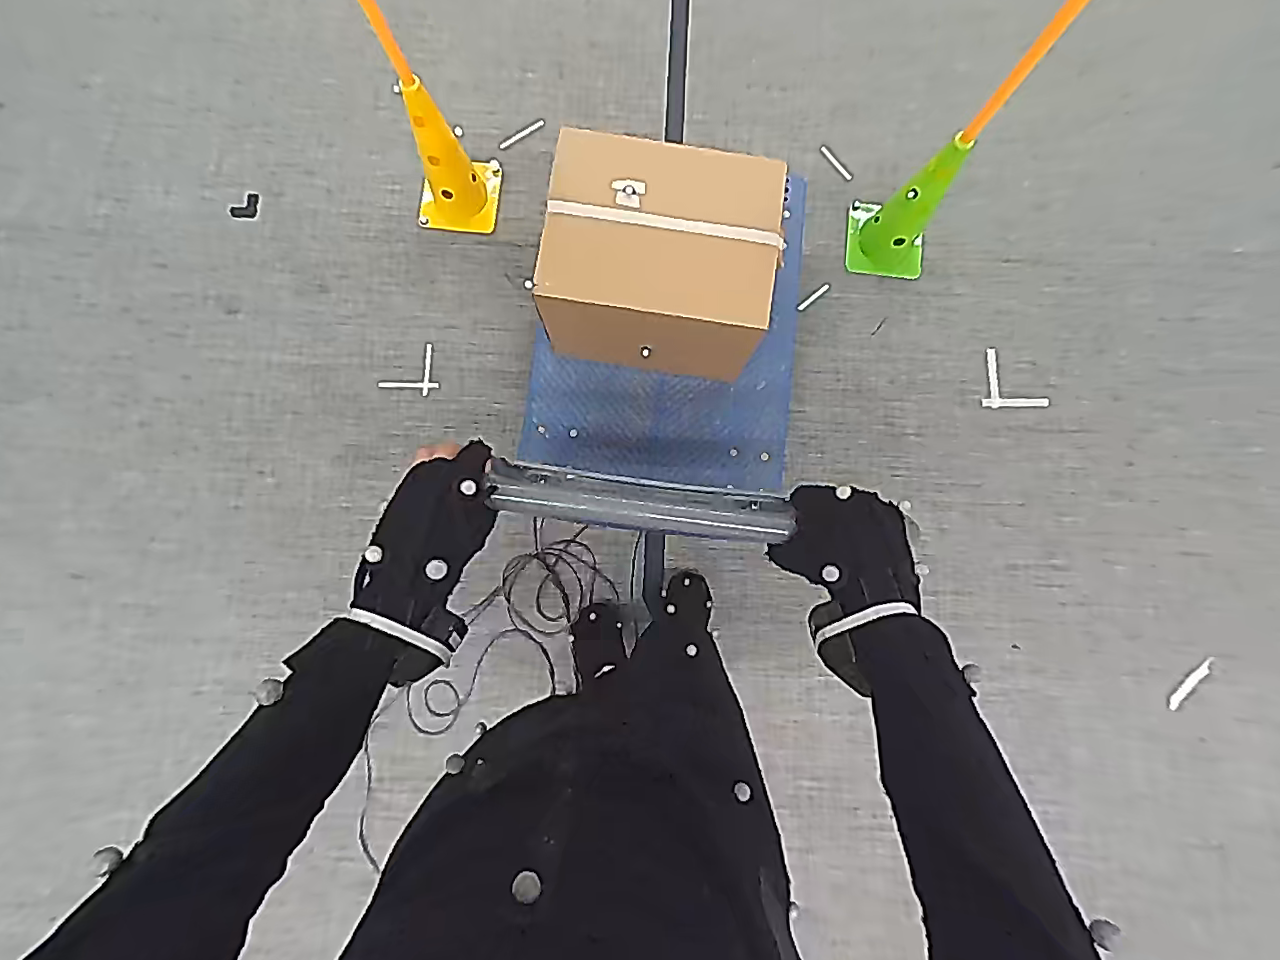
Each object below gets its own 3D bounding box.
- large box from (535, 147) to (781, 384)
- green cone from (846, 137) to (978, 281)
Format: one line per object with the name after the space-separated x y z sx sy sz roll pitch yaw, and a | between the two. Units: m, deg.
0.036 -0.402 1.092 0.408 0.320 0.320 9 83 0 | large box
0.660 -0.656 1.280 0.202 0.368 0.200 7 83 -1 | green cone
